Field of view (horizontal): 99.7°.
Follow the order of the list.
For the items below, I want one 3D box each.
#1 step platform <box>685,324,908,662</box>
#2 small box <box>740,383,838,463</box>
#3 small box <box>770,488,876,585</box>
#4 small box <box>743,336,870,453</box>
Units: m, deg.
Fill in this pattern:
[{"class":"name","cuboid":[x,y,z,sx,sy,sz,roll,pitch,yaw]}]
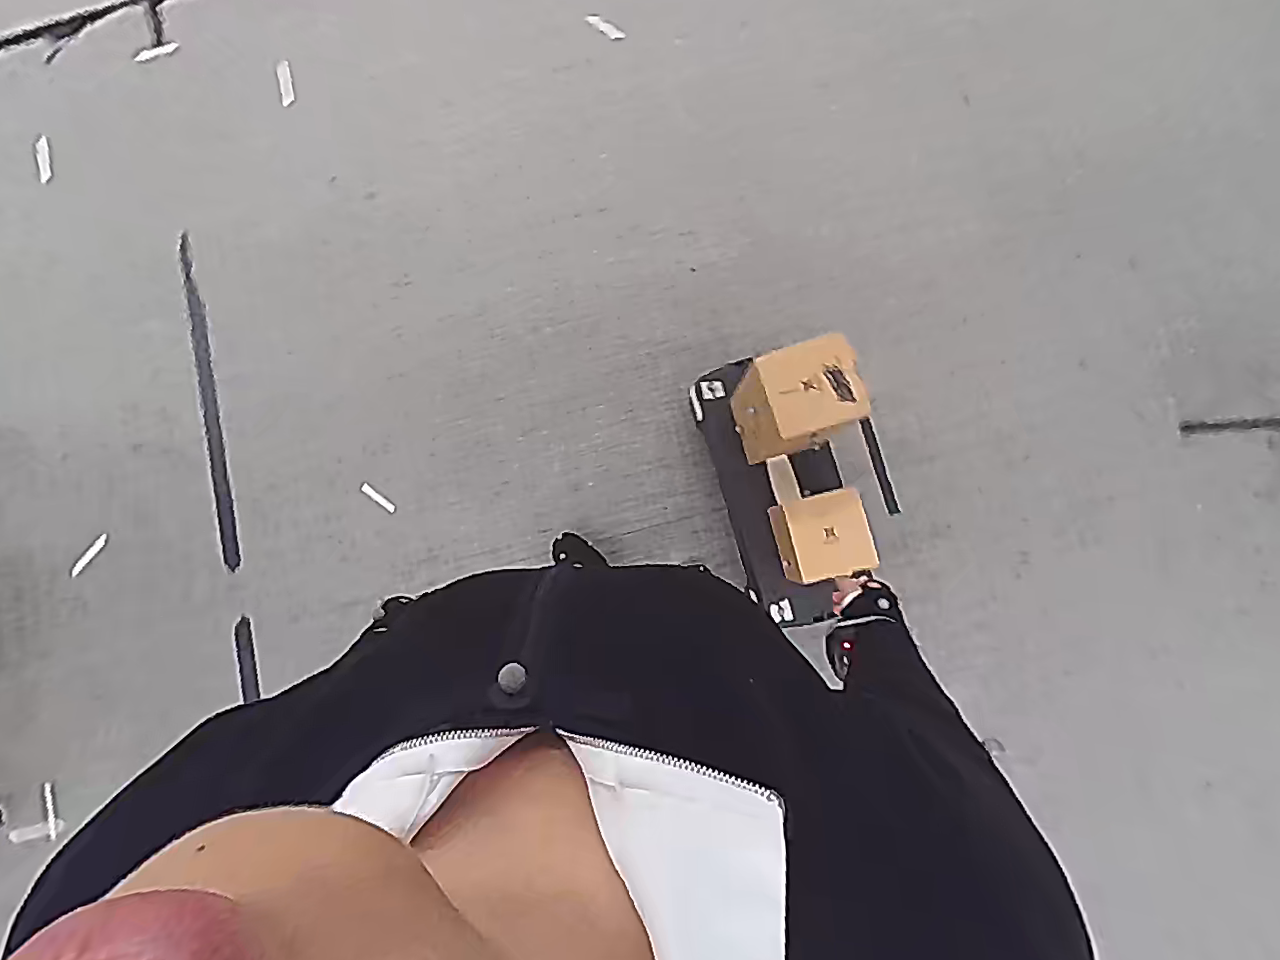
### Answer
[{"class":"step platform","cuboid":[0.318,0.024,1.189,0.286,0.204,0.684,-15,84,0]},{"class":"small box","cuboid":[0.323,-0.142,1.241,0.179,0.176,0.168,-15,83,1]},{"class":"small box","cuboid":[0.398,0.128,1.212,0.168,0.176,0.179,-14,81,1]},{"class":"small box","cuboid":[0.322,-0.163,1.078,0.179,0.176,0.168,-17,84,1]}]
